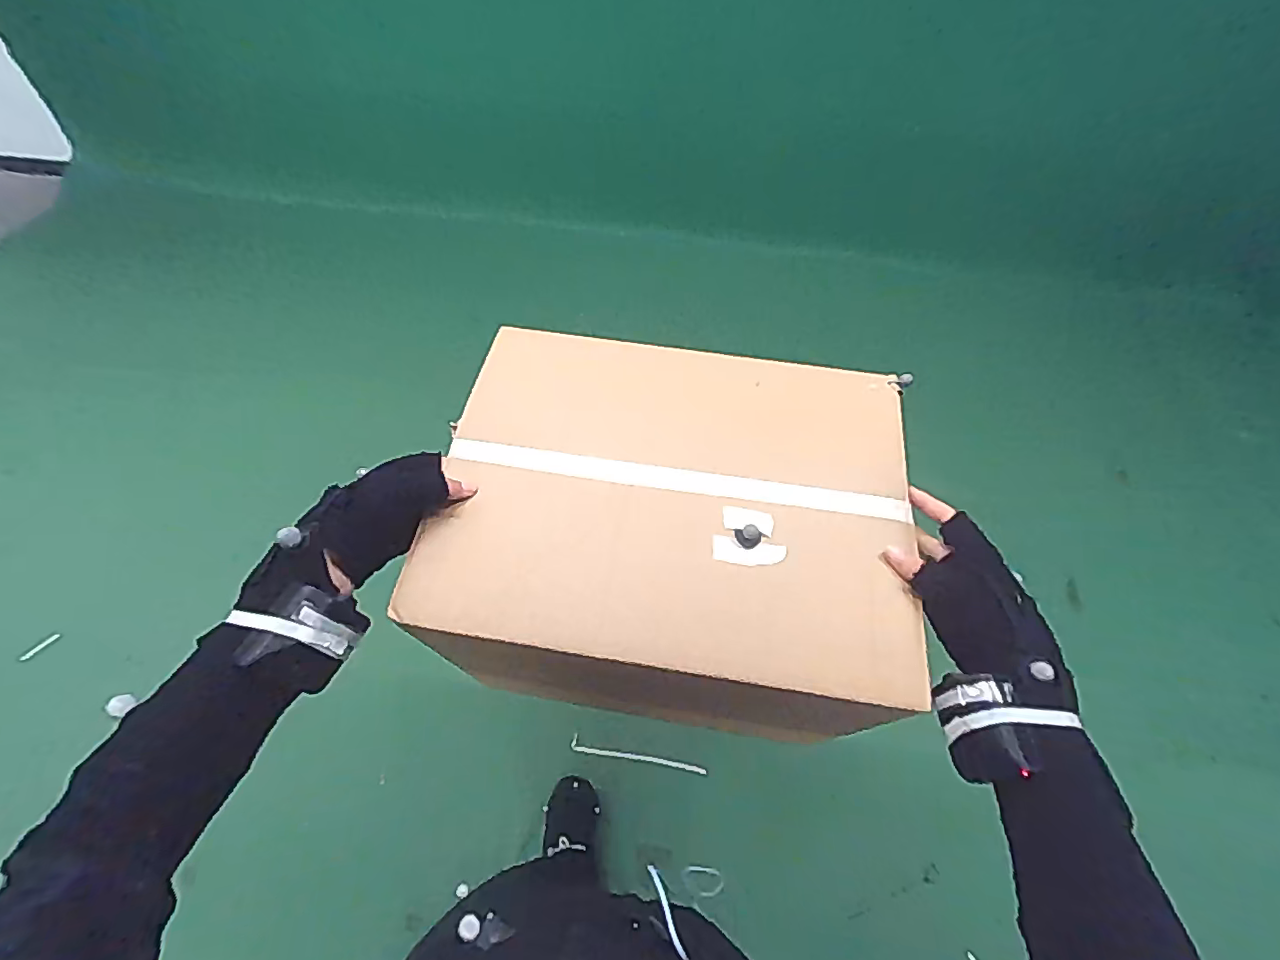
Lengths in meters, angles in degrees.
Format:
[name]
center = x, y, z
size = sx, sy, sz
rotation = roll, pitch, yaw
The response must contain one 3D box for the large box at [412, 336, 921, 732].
[large box]
center = 0.031, 0.076, 0.615
size = 0.408, 0.320, 0.320
rotation = 8, 60, 3
